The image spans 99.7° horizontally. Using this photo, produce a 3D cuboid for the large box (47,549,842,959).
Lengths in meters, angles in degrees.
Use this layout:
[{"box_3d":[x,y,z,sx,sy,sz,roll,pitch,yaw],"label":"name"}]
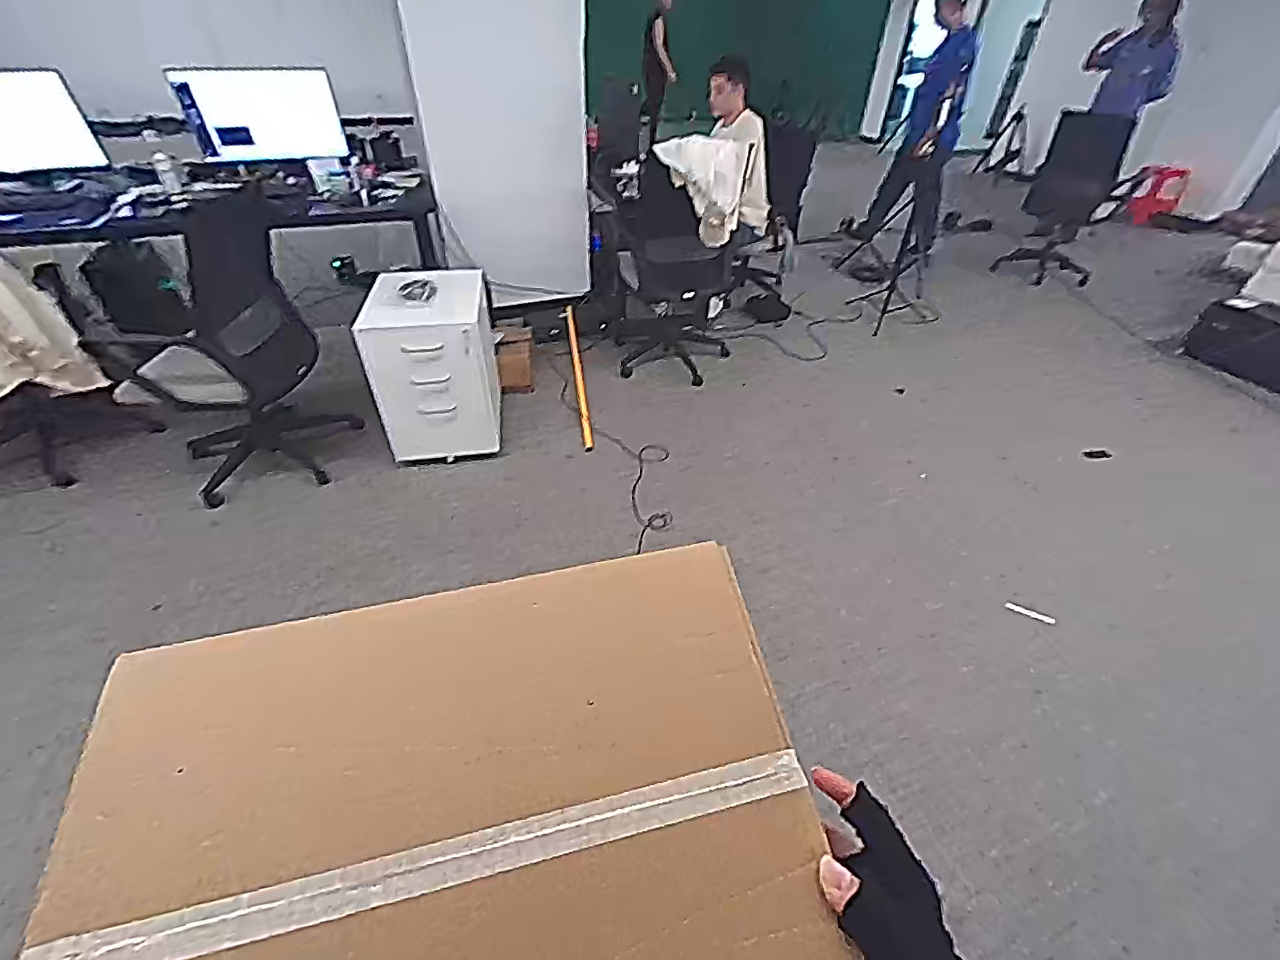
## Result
[{"box_3d":[-0.111,0.291,0.429,0.408,0.320,0.320,-9,56,-8],"label":"large box"}]
